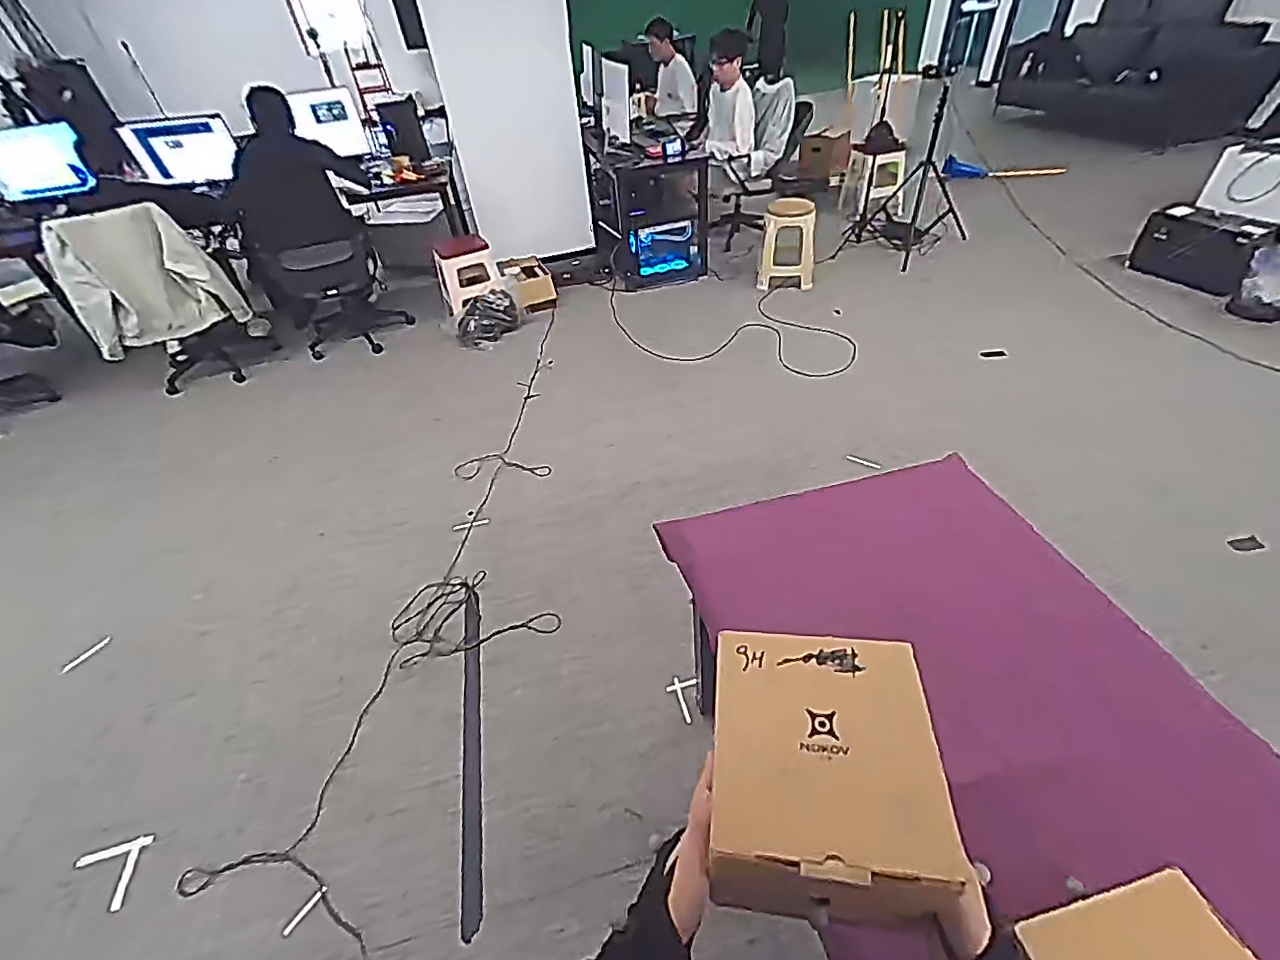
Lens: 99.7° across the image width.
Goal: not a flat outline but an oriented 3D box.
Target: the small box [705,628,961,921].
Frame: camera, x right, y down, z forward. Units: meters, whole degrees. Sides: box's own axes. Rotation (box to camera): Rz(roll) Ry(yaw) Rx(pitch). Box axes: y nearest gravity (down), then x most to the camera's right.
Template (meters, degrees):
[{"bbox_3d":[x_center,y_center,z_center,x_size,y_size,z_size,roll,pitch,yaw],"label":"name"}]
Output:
[{"bbox_3d":[0.146,0.254,0.469,0.168,0.176,0.179,2,44,10],"label":"small box"}]

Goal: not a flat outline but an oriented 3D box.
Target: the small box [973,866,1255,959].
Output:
[{"bbox_3d":[0.435,0.483,0.481,0.179,0.176,0.168,-12,42,-7],"label":"small box"}]
